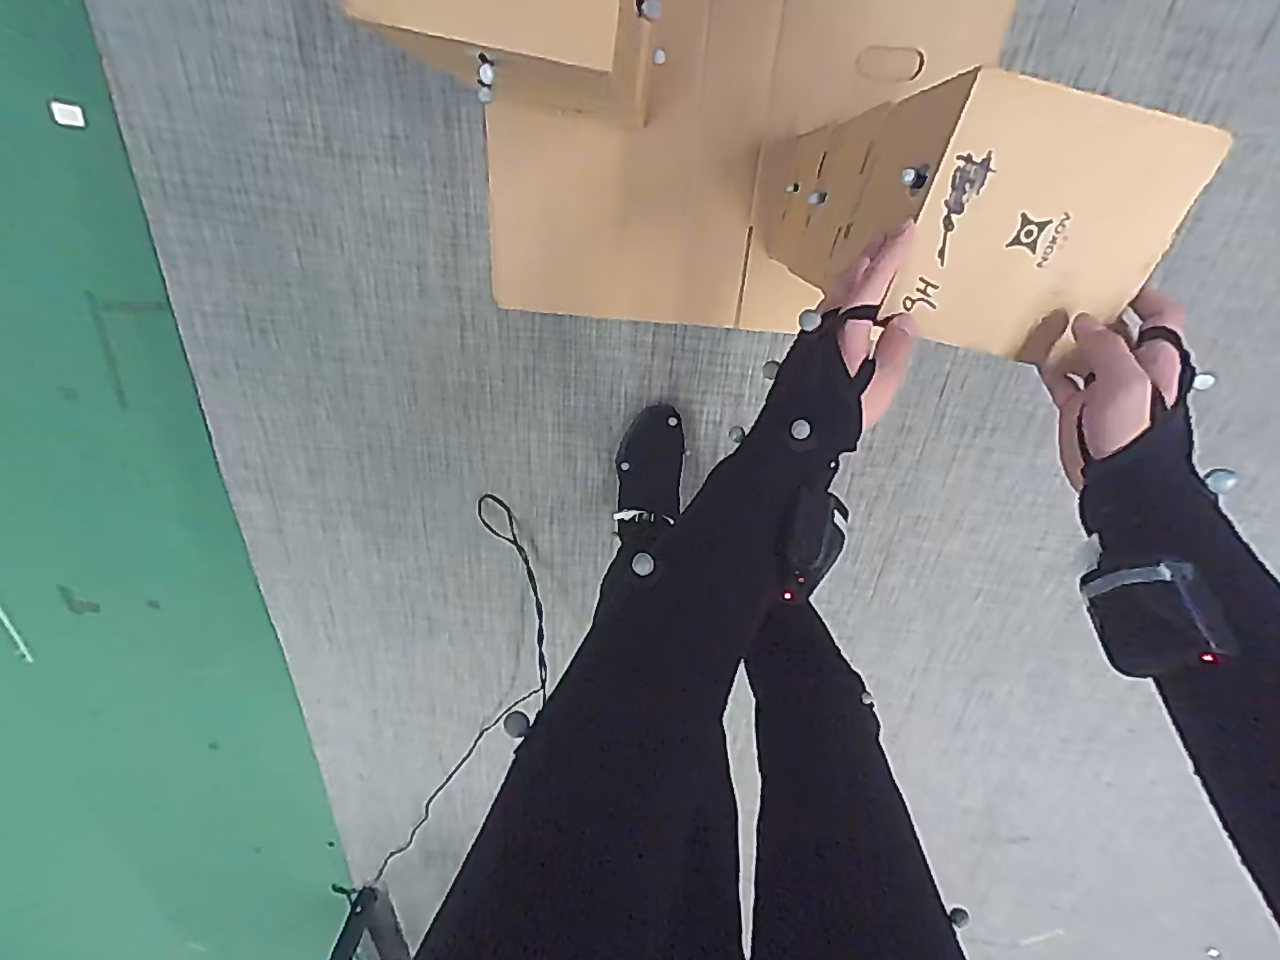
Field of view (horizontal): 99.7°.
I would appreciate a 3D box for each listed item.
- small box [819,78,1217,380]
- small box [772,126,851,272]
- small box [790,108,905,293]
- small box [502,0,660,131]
[{"bbox_3d":[0.276,-0.202,0.450,0.179,0.176,0.168,12,117,-3],"label":"small box"},{"bbox_3d":[0.295,-0.364,0.736,0.179,0.176,0.168,10,117,-1],"label":"small box"},{"bbox_3d":[0.286,-0.281,0.593,0.179,0.176,0.168,13,117,-3],"label":"small box"},{"bbox_3d":[-0.074,-0.542,0.662,0.179,0.176,0.168,8,118,-1],"label":"small box"}]
